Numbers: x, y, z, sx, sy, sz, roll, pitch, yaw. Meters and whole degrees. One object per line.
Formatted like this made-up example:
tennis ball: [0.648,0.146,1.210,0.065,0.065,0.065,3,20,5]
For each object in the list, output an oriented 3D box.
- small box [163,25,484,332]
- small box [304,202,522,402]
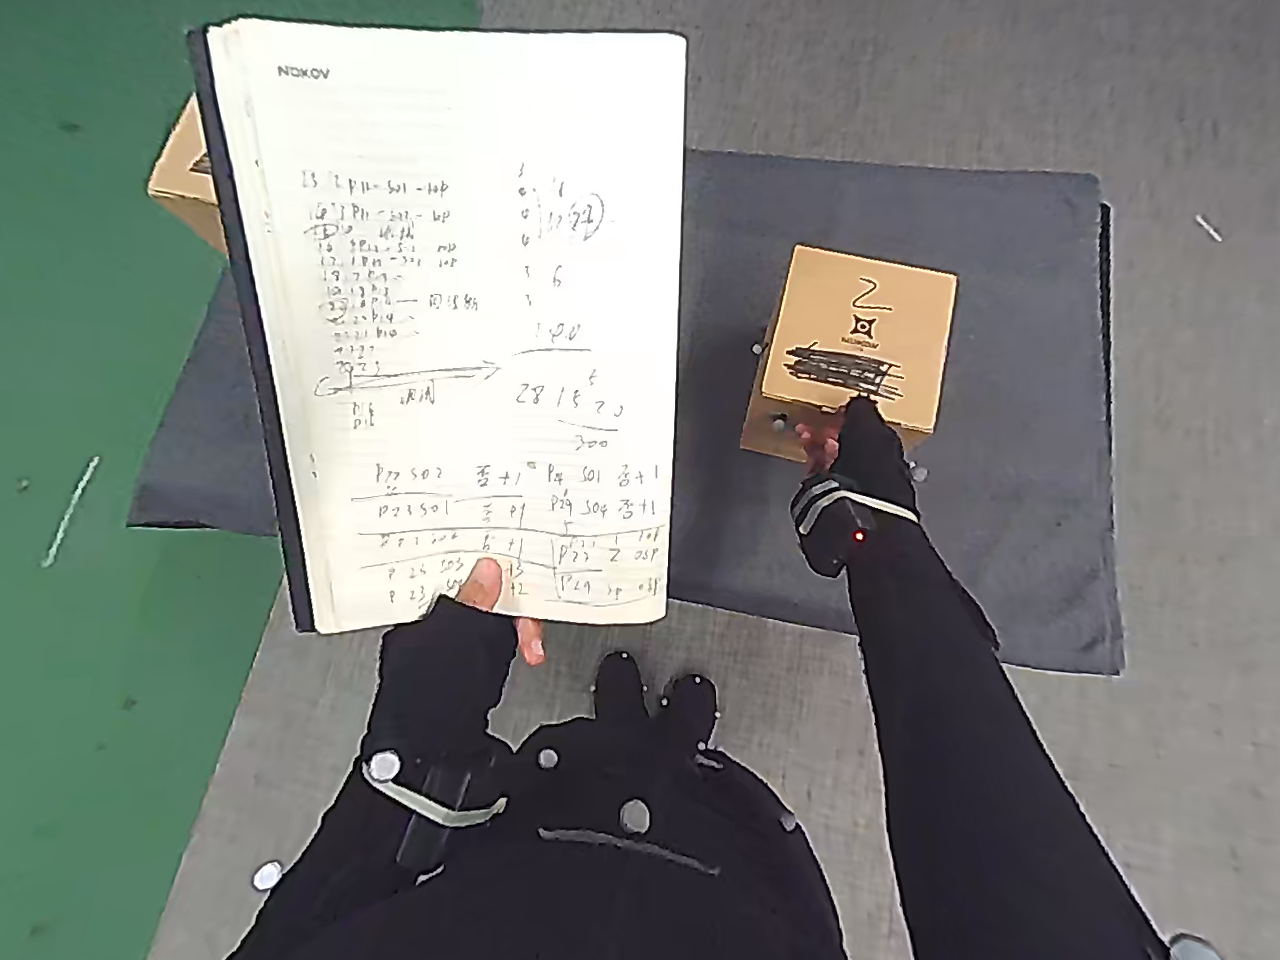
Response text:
small box: [-0.265,-0.263,0.503,0.168,0.176,0.179,13,75,6]
small box: [-0.256,-0.218,0.660,0.168,0.176,0.179,11,76,6]
